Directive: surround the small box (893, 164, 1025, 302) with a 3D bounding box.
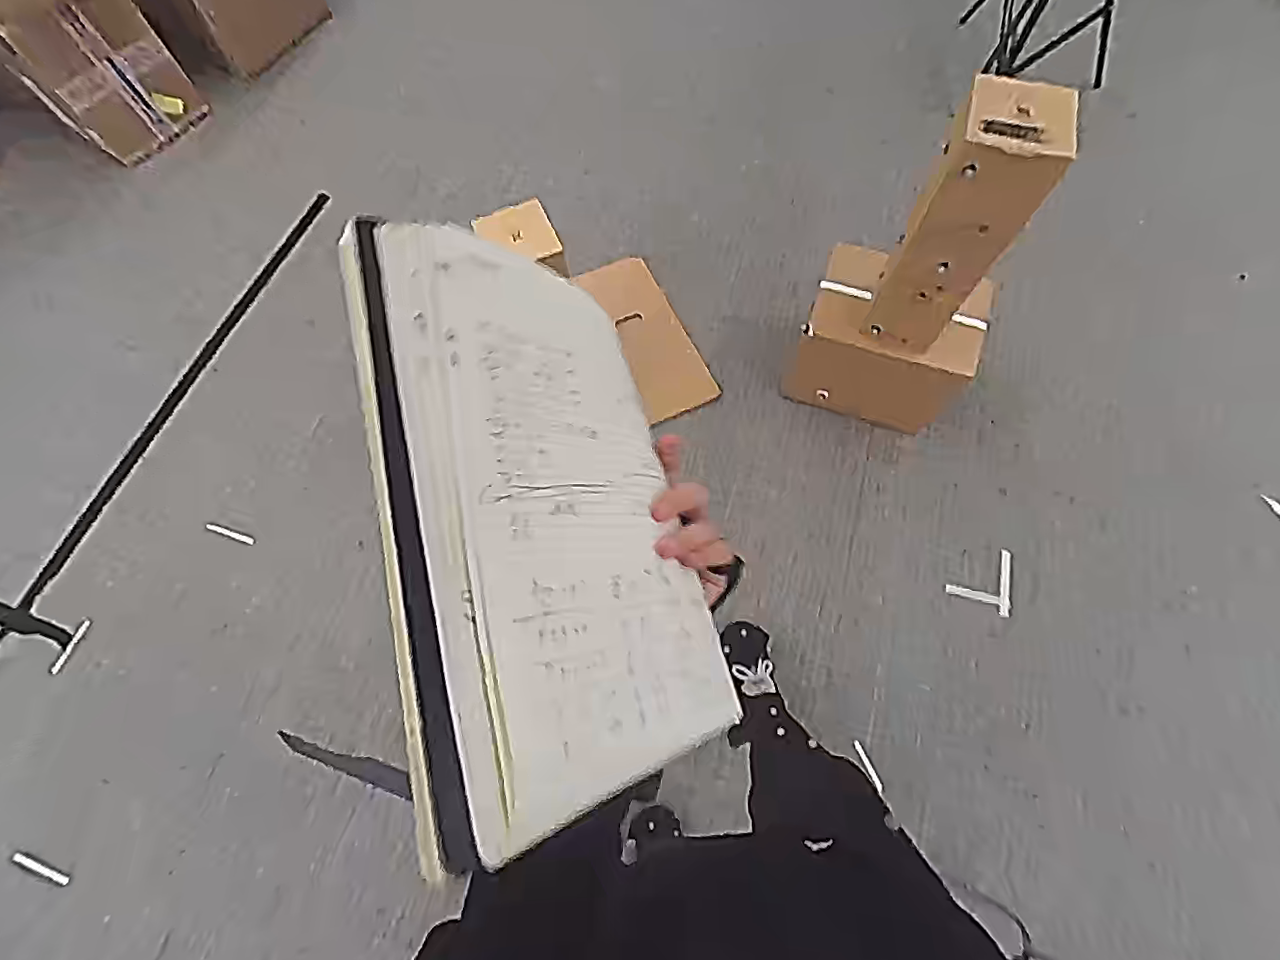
[{"bbox_3d":[0.637,-0.494,1.100,0.168,0.176,0.179,19,71,9],"label":"small box"}]

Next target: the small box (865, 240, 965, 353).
[{"bbox_3d":[0.641,-0.424,1.248,0.168,0.176,0.179,21,70,11],"label":"small box"}]

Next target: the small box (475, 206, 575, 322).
[{"bbox_3d":[-0.267,-0.503,1.288,0.168,0.176,0.179,-23,68,-7],"label":"small box"}]
